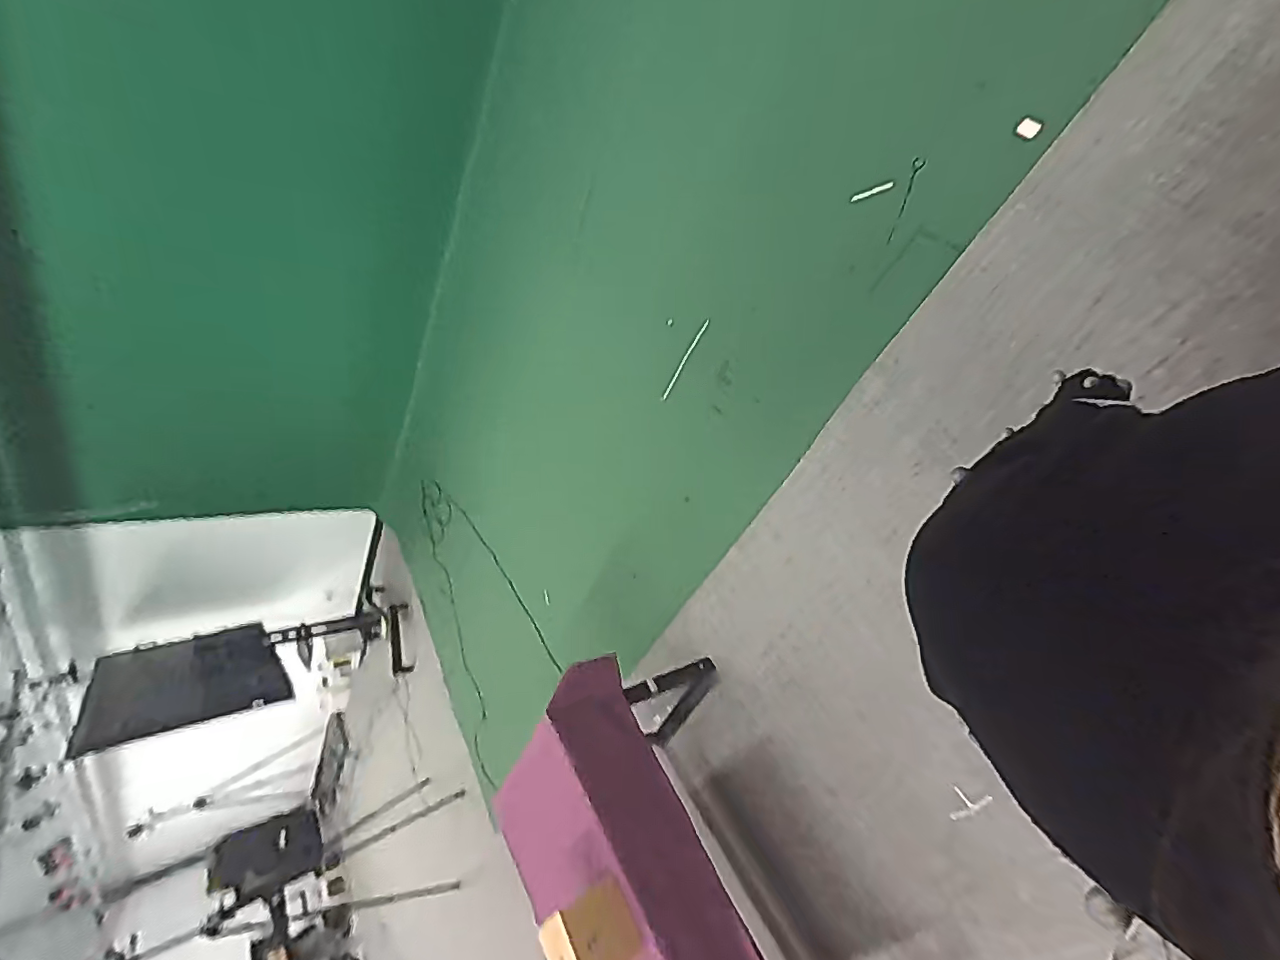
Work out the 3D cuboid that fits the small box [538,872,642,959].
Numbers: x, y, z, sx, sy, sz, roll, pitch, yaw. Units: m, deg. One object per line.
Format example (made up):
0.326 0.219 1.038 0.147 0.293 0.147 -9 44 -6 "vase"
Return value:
-0.123 1.128 1.342 0.179 0.176 0.168 53 128 32 "small box"
